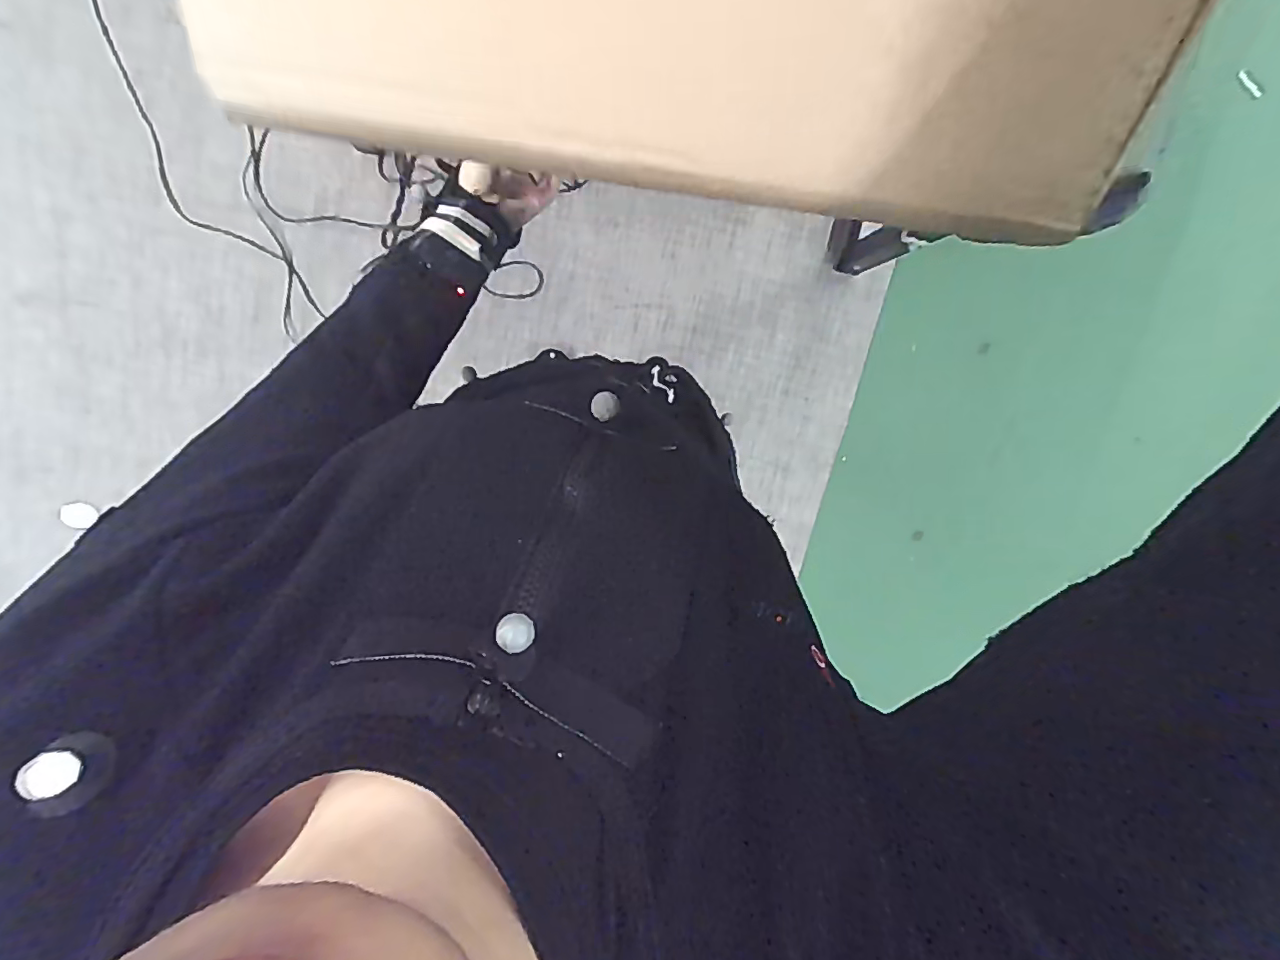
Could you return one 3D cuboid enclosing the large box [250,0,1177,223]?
[{"bbox_3d":[0.031,-0.350,0.274,0.320,0.408,0.320,6,125,-2],"label":"large box"}]
